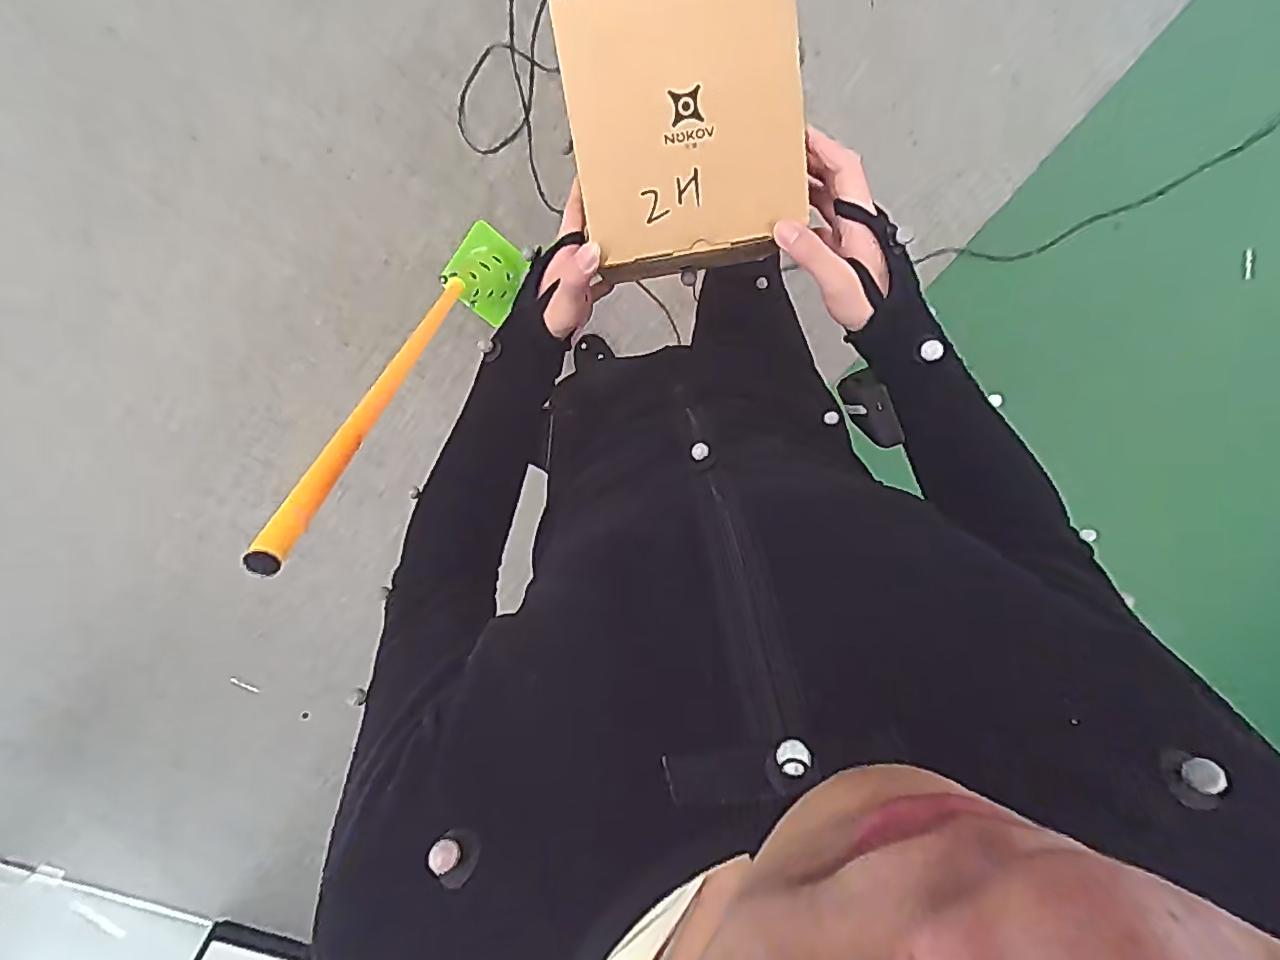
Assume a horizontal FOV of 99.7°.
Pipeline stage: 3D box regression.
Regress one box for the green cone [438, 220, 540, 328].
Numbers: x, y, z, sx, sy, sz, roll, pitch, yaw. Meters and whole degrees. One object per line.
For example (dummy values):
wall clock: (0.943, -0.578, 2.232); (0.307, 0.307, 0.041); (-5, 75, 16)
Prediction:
green cone: (-0.373, -0.453, 1.225); (0.200, 0.368, 0.202); (36, 106, -18)
